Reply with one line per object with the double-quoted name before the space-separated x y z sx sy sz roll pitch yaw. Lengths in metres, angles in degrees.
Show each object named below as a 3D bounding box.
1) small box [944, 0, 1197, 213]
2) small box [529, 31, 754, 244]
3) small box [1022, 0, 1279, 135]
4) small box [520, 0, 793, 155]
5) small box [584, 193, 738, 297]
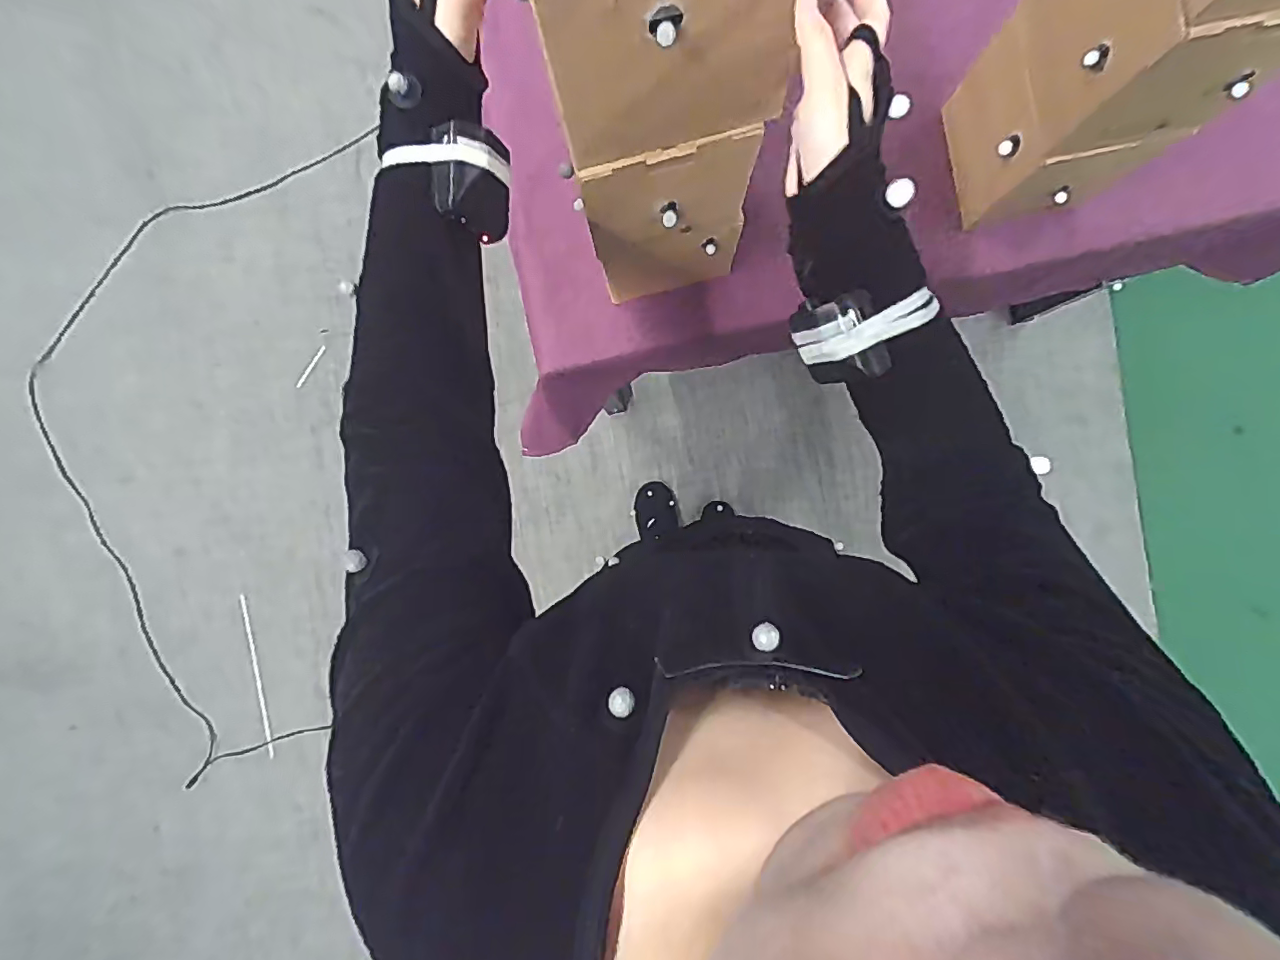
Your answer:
"small box" 0.506 -0.453 0.662 0.168 0.176 0.179 -11 90 3
"small box" 0.001 -0.354 0.528 0.168 0.176 0.179 -15 91 2
"small box" 0.497 -0.454 0.499 0.168 0.176 0.179 -9 90 3
"small box" 0.002 -0.357 0.363 0.179 0.176 0.168 -14 90 1
"small box" 0.014 -0.354 0.692 0.179 0.176 0.168 -14 90 2
